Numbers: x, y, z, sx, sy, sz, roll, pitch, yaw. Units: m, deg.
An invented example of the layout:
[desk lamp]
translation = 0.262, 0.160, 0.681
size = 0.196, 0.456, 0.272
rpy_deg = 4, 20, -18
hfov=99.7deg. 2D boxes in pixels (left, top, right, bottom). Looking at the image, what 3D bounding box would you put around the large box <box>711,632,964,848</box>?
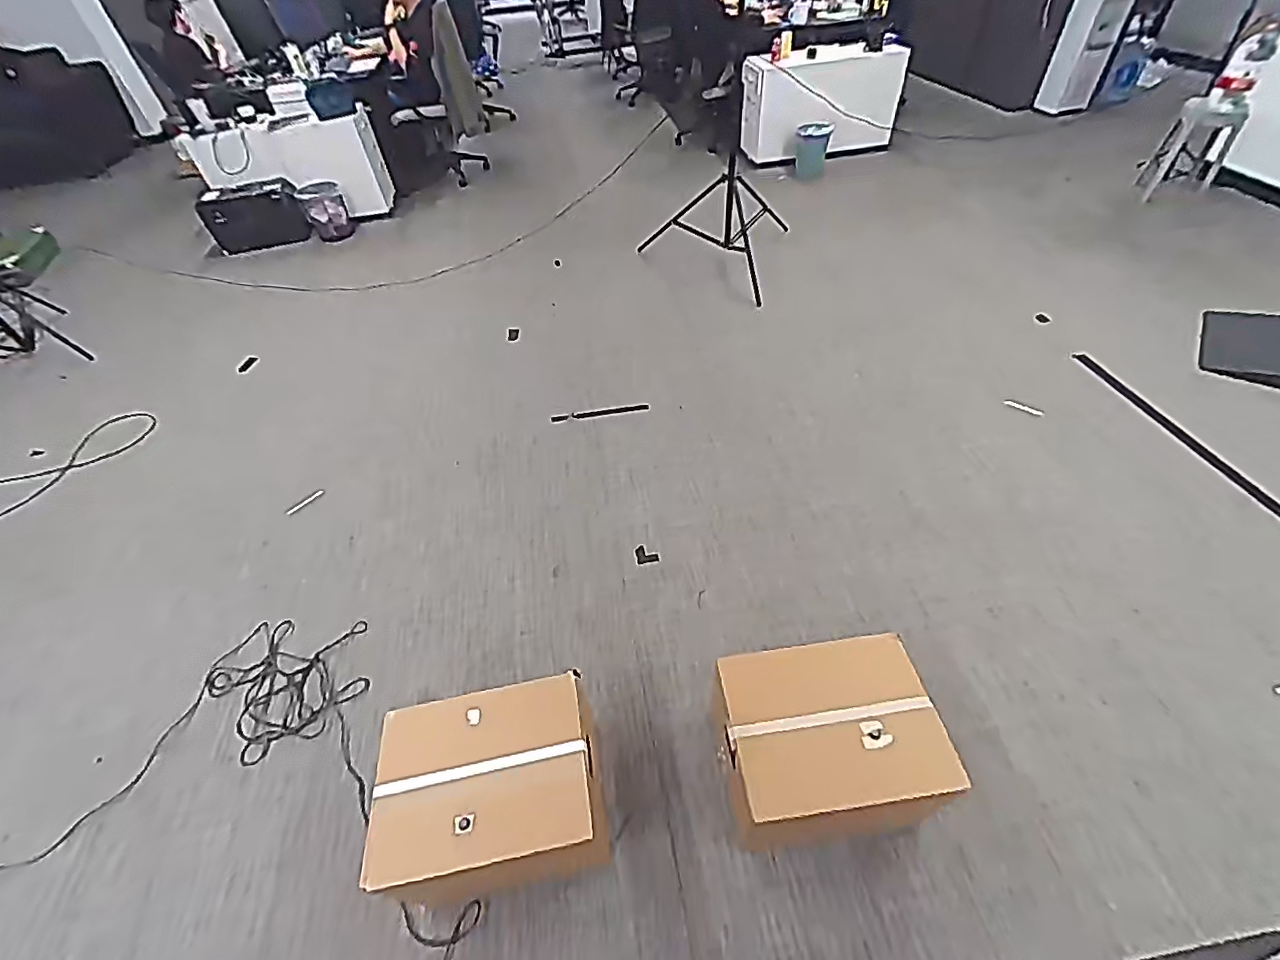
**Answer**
[large box]
translation = 0.390, 0.574, 1.191
size = 0.408, 0.320, 0.320
rpy_deg = -7, 48, -2
